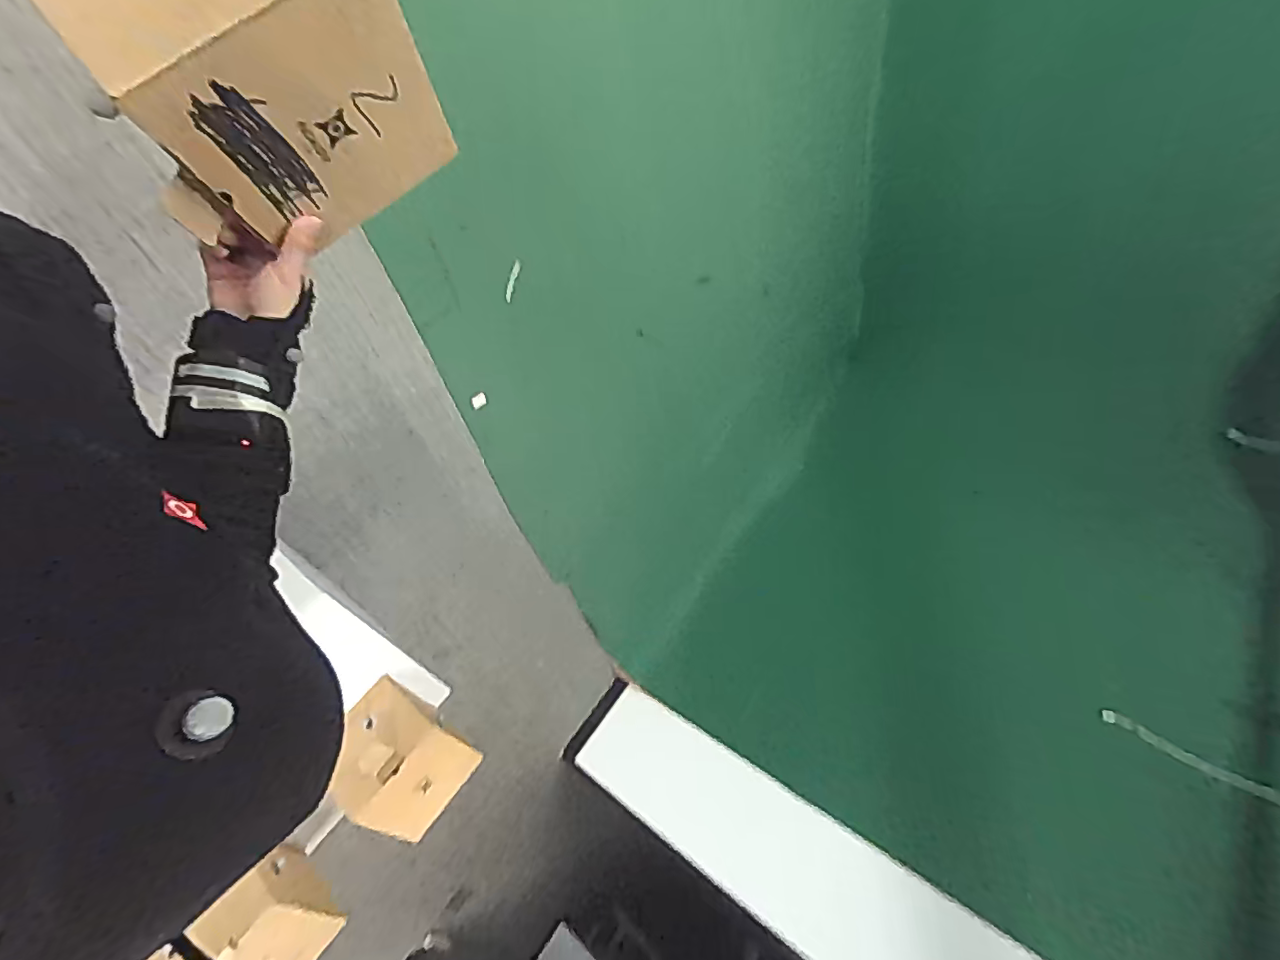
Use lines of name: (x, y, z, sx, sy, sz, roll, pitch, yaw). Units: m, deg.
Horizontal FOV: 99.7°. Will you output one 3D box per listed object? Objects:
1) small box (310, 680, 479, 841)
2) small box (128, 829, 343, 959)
small box: (-0.425, 0.484, 0.945, 0.168, 0.176, 0.179, -49, 141, -24)
small box: (-0.599, 0.663, 0.807, 0.168, 0.176, 0.179, -47, 142, -27)
